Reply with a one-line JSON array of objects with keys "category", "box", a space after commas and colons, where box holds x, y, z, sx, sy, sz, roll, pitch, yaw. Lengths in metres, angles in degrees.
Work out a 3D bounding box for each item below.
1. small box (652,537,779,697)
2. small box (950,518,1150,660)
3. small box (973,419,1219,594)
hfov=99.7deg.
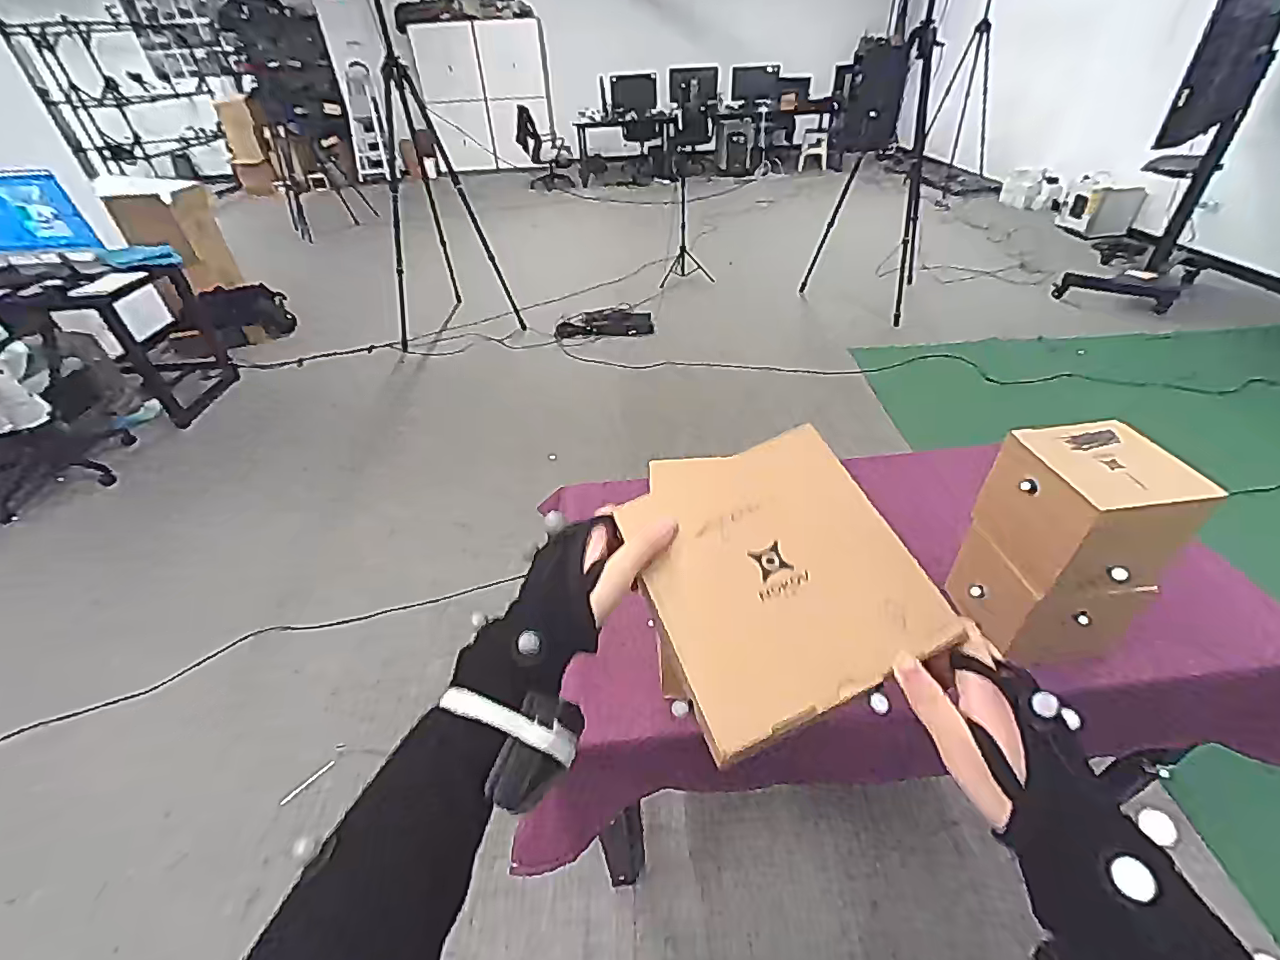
[{"category": "small box", "box": [0.107, 0.214, 0.851, 0.168, 0.176, 0.179, -5, 39, -2]}, {"category": "small box", "box": [0.626, 0.169, 0.862, 0.179, 0.176, 0.168, -5, 39, -1]}, {"category": "small box", "box": [0.616, 0.035, 0.765, 0.168, 0.176, 0.179, -7, 39, -3]}]
